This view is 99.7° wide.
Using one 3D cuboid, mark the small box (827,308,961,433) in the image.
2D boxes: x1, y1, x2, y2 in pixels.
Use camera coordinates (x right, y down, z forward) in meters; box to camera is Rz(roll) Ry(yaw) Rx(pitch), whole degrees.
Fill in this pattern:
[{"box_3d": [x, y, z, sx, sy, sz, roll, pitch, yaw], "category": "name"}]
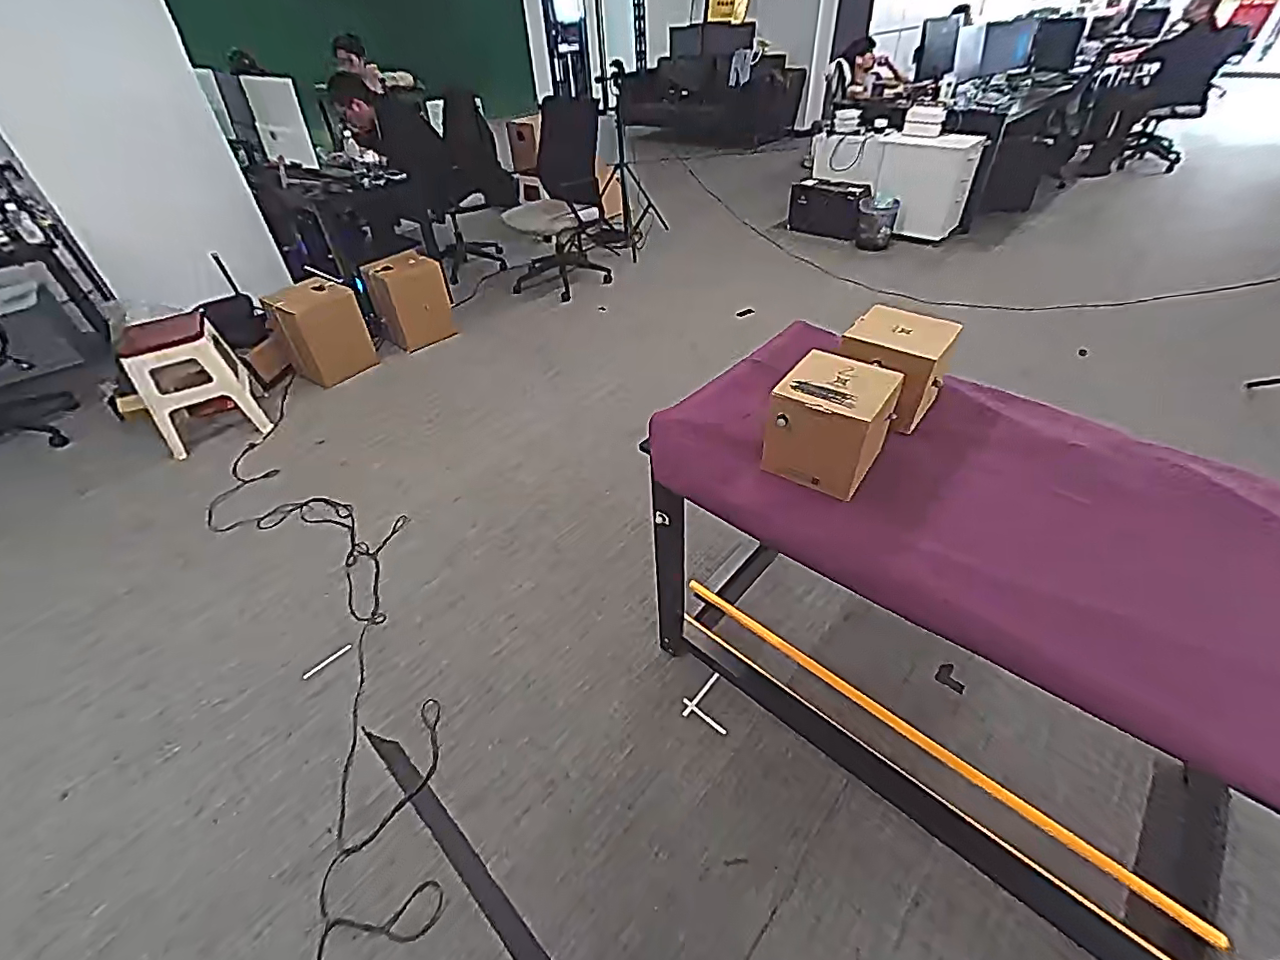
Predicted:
[{"box_3d": [0.502, -0.217, 1.086, 0.179, 0.176, 0.168, 27, 50, 29], "category": "small box"}]
